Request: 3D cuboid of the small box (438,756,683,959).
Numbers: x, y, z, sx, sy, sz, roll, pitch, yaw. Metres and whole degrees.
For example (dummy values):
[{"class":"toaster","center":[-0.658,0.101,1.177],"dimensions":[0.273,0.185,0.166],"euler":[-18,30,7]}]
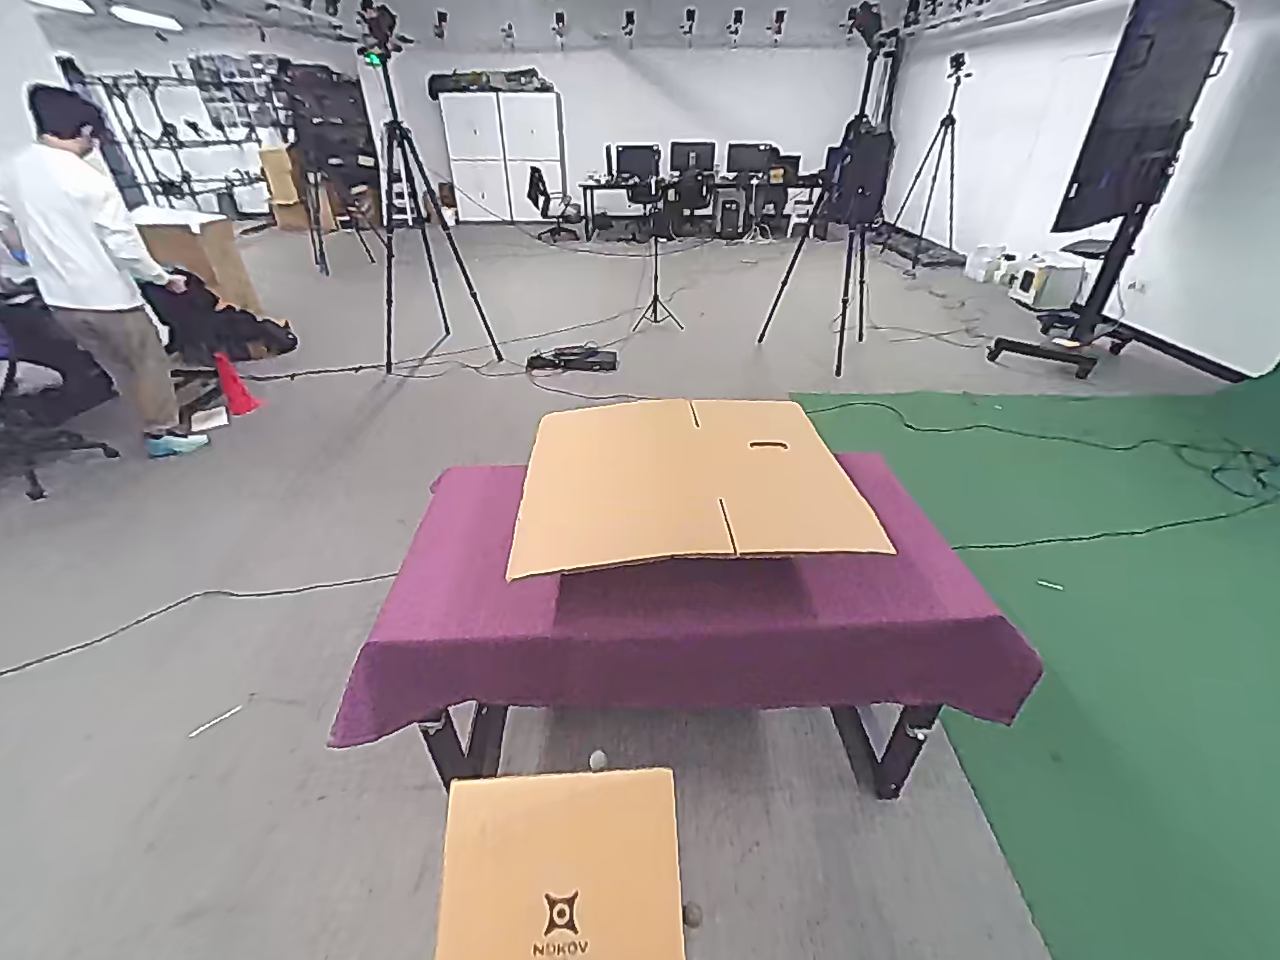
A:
[{"class":"small box","center":[-0.056,0.328,0.444],"dimensions":[0.168,0.176,0.179],"euler":[-2,64,-2]}]
